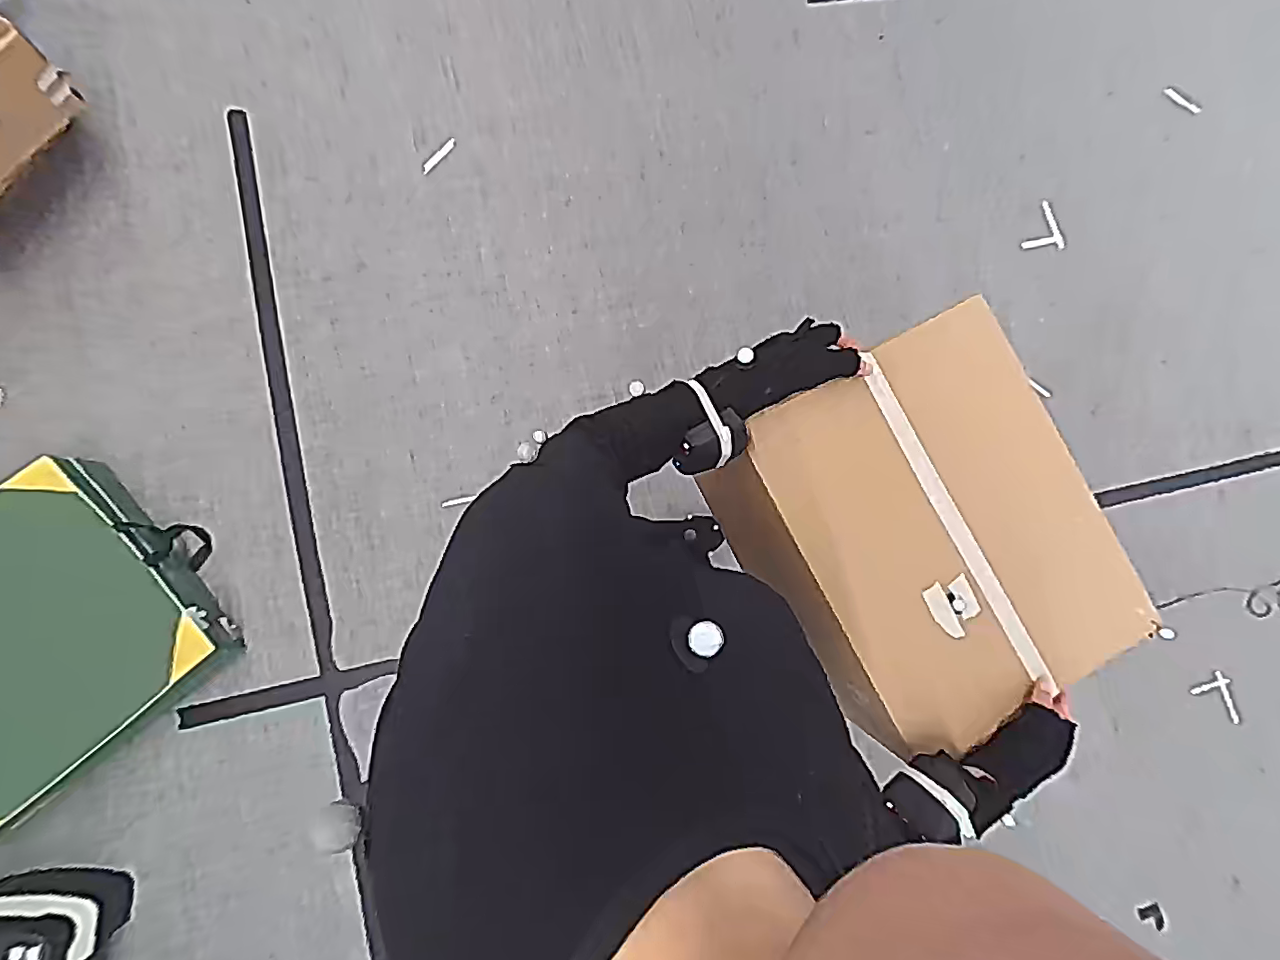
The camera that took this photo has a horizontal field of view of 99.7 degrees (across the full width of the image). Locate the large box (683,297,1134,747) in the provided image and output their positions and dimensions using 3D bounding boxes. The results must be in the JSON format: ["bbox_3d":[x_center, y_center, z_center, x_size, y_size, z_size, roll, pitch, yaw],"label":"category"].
[{"bbox_3d":[0.306,0.046,0.729,0.320,0.320,0.408,-28,90,-6],"label":"large box"}]
